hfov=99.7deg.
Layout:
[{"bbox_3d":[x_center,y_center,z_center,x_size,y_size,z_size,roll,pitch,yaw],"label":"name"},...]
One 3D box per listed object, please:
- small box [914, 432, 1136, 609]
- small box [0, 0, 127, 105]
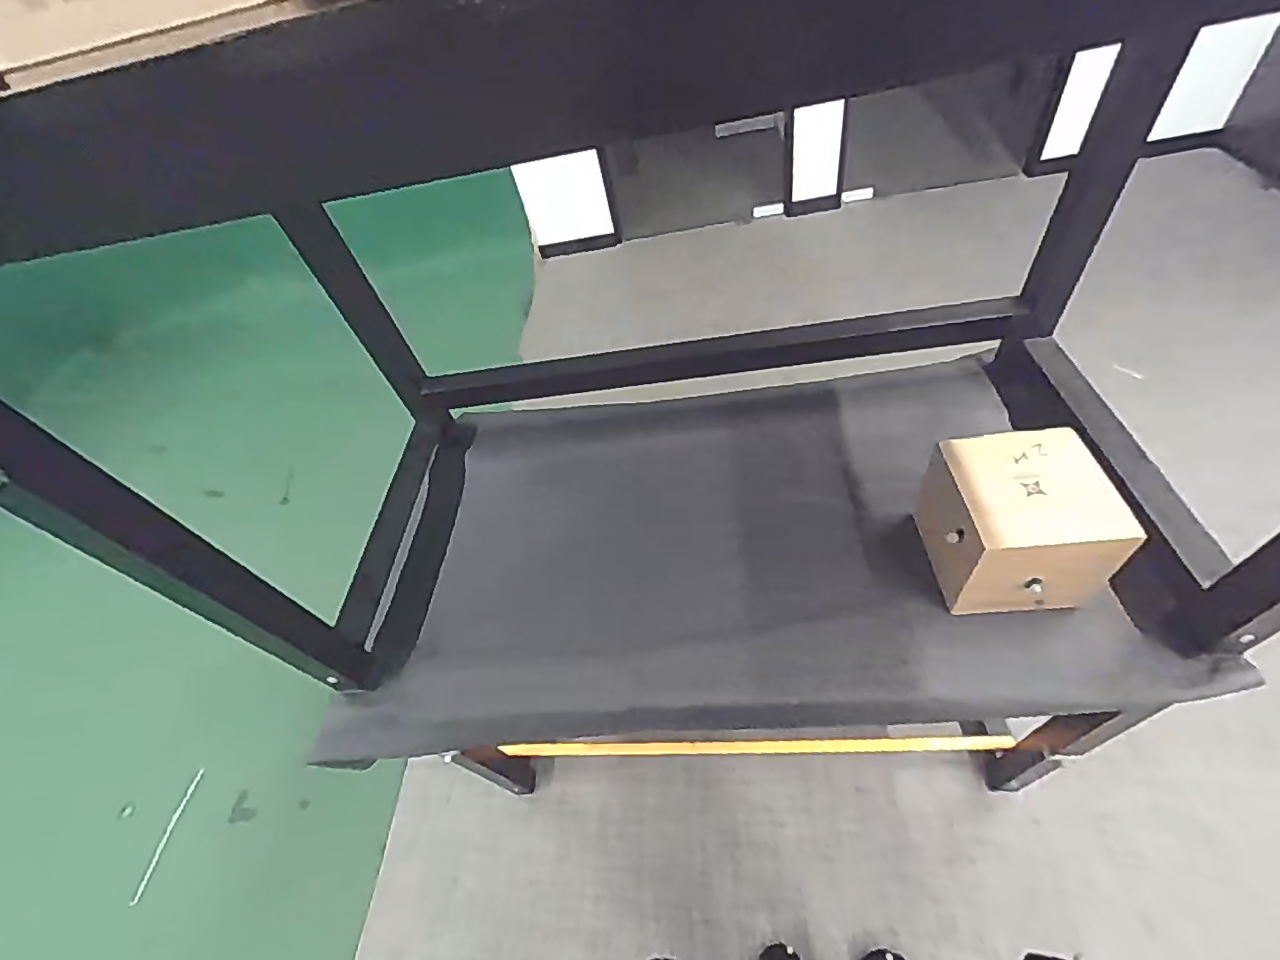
[{"bbox_3d":[0.488,0.062,0.722,0.168,0.176,0.179,-5,49,9],"label":"small box"},{"bbox_3d":[-0.444,-0.301,0.285,0.168,0.176,0.179,-6,51,8],"label":"small box"}]
